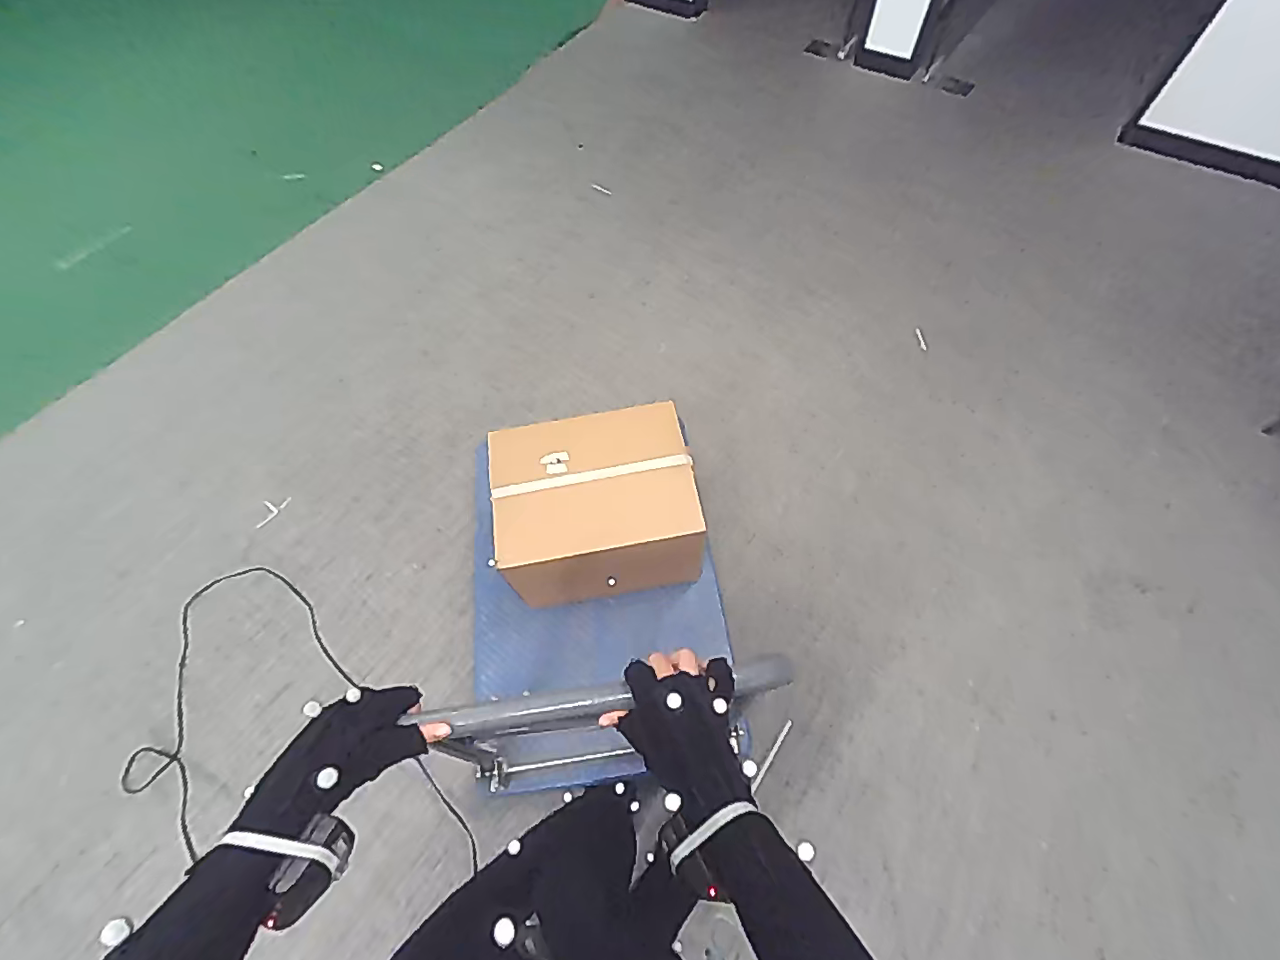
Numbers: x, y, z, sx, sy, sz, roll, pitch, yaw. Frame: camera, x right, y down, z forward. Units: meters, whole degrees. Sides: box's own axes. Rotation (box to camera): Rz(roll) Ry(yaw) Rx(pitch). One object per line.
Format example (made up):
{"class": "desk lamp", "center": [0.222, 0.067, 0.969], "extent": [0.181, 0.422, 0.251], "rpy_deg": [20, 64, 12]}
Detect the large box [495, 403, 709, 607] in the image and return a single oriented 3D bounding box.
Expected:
{"class": "large box", "center": [-0.079, 0.068, 1.226], "extent": [0.408, 0.320, 0.320], "rpy_deg": [-10, 61, -2]}
